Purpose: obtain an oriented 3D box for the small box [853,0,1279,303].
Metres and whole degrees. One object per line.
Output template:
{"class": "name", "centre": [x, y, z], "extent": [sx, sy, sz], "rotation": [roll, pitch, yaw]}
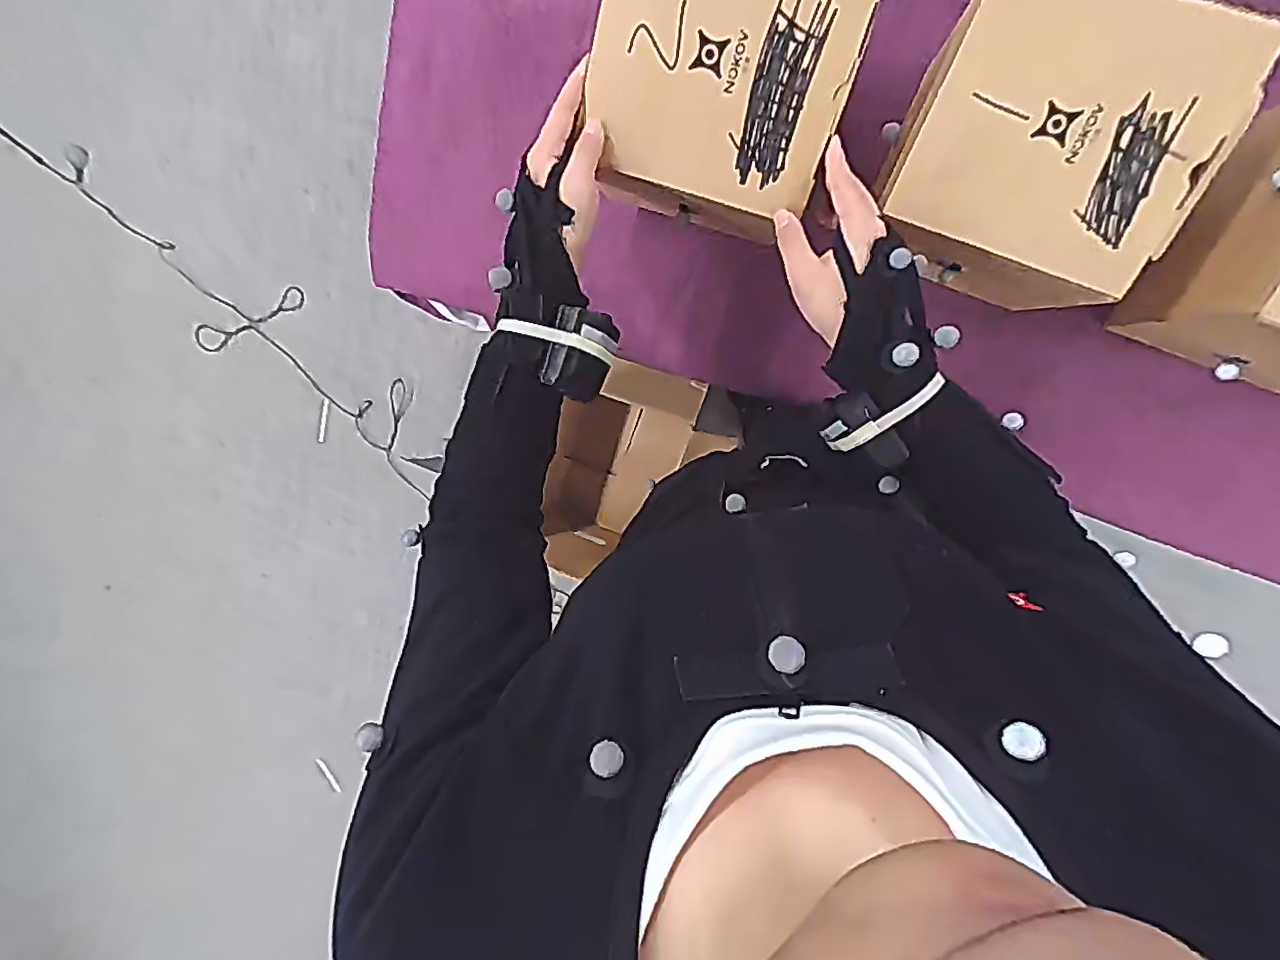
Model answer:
{"class": "small box", "centre": [0.296, -0.250, 0.429], "extent": [0.179, 0.176, 0.168], "rotation": [24, 109, 7]}
